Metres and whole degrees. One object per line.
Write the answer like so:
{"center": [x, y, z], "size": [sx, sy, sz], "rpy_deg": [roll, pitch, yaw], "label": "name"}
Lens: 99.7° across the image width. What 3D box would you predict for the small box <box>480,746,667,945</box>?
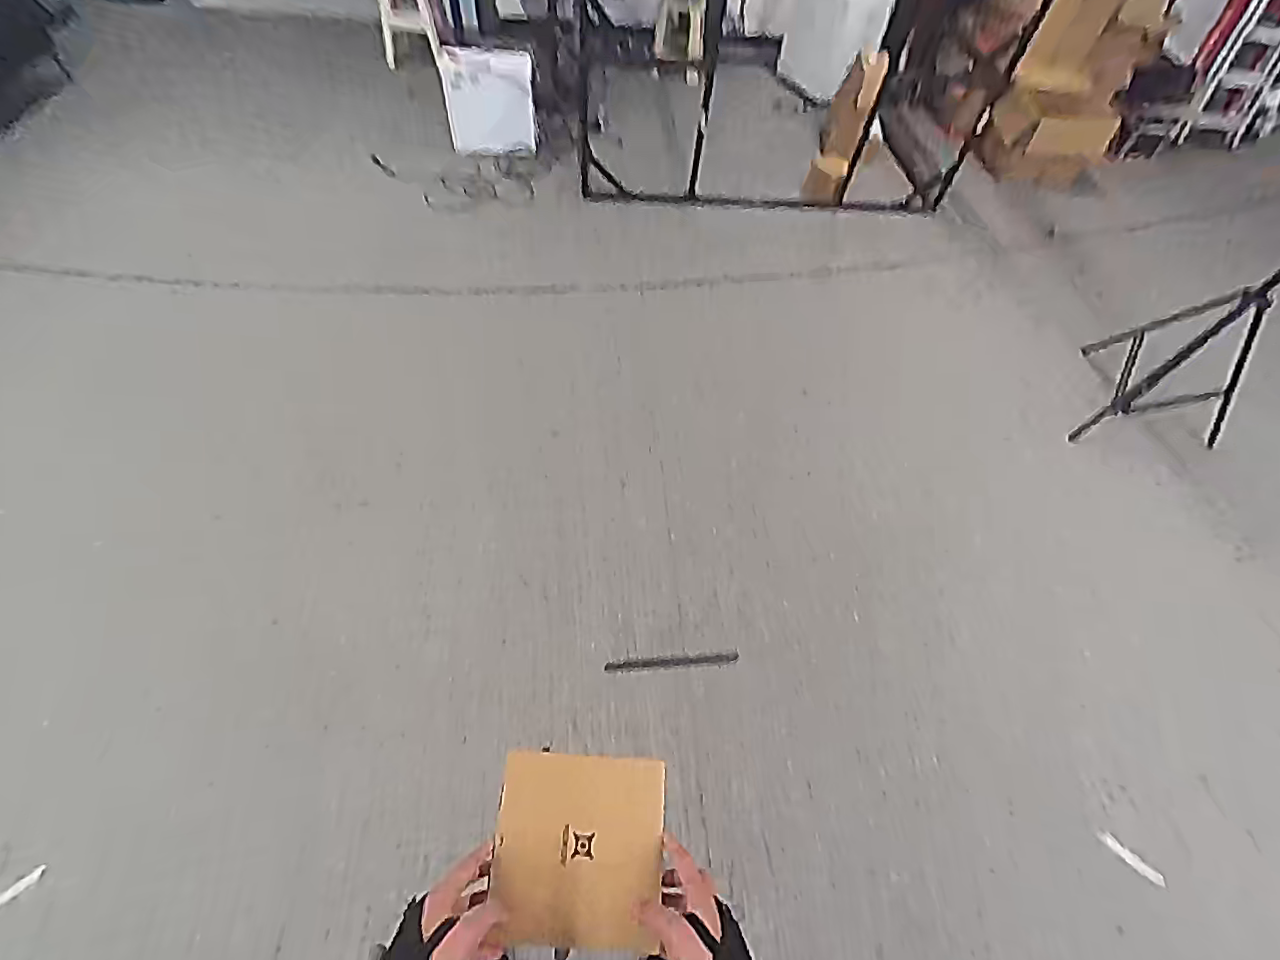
{"center": [-0.066, 0.404, 0.624], "size": [0.179, 0.176, 0.168], "rpy_deg": [4, 62, -1], "label": "small box"}
